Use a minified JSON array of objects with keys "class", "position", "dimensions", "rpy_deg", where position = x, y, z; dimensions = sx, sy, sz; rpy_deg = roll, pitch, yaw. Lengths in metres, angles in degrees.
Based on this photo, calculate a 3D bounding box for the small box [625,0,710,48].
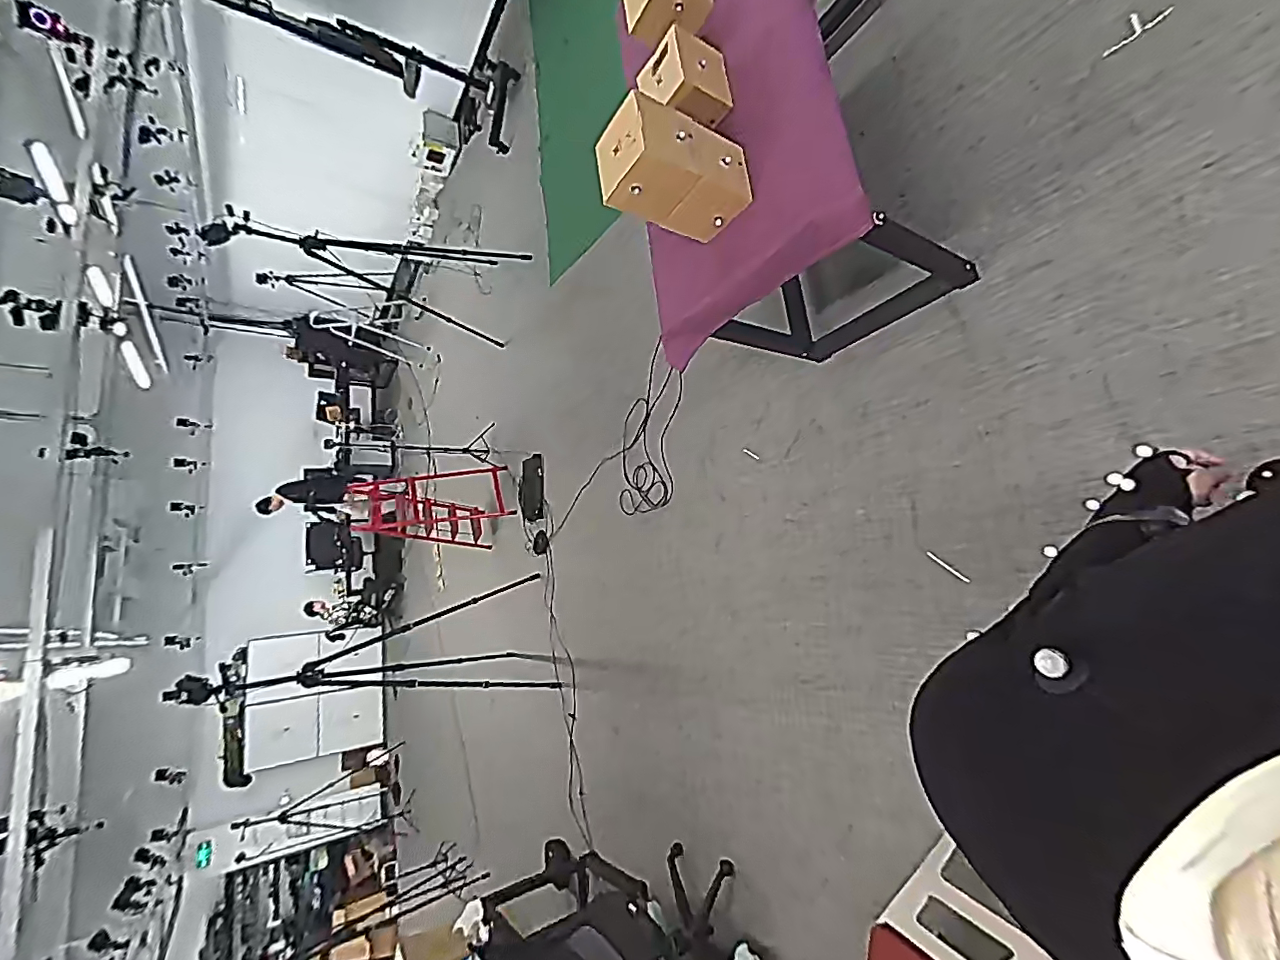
[{"class":"small box","position":[0.078,-1.336,1.491],"dimensions":[0.179,0.176,0.168],"rpy_deg":[-24,69,53]}]

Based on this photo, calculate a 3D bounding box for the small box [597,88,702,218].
[{"class":"small box","position":[0.021,-0.749,1.264],"dimensions":[0.179,0.176,0.168],"rpy_deg":[-25,69,51]}]

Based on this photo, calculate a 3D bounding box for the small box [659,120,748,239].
[{"class":"small box","position":[0.155,-0.743,1.360],"dimensions":[0.179,0.176,0.168],"rpy_deg":[-25,68,52]}]

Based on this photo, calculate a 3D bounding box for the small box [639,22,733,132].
[{"class":"small box","position":[0.119,-1.026,1.421],"dimensions":[0.168,0.176,0.179],"rpy_deg":[-25,69,52]}]
